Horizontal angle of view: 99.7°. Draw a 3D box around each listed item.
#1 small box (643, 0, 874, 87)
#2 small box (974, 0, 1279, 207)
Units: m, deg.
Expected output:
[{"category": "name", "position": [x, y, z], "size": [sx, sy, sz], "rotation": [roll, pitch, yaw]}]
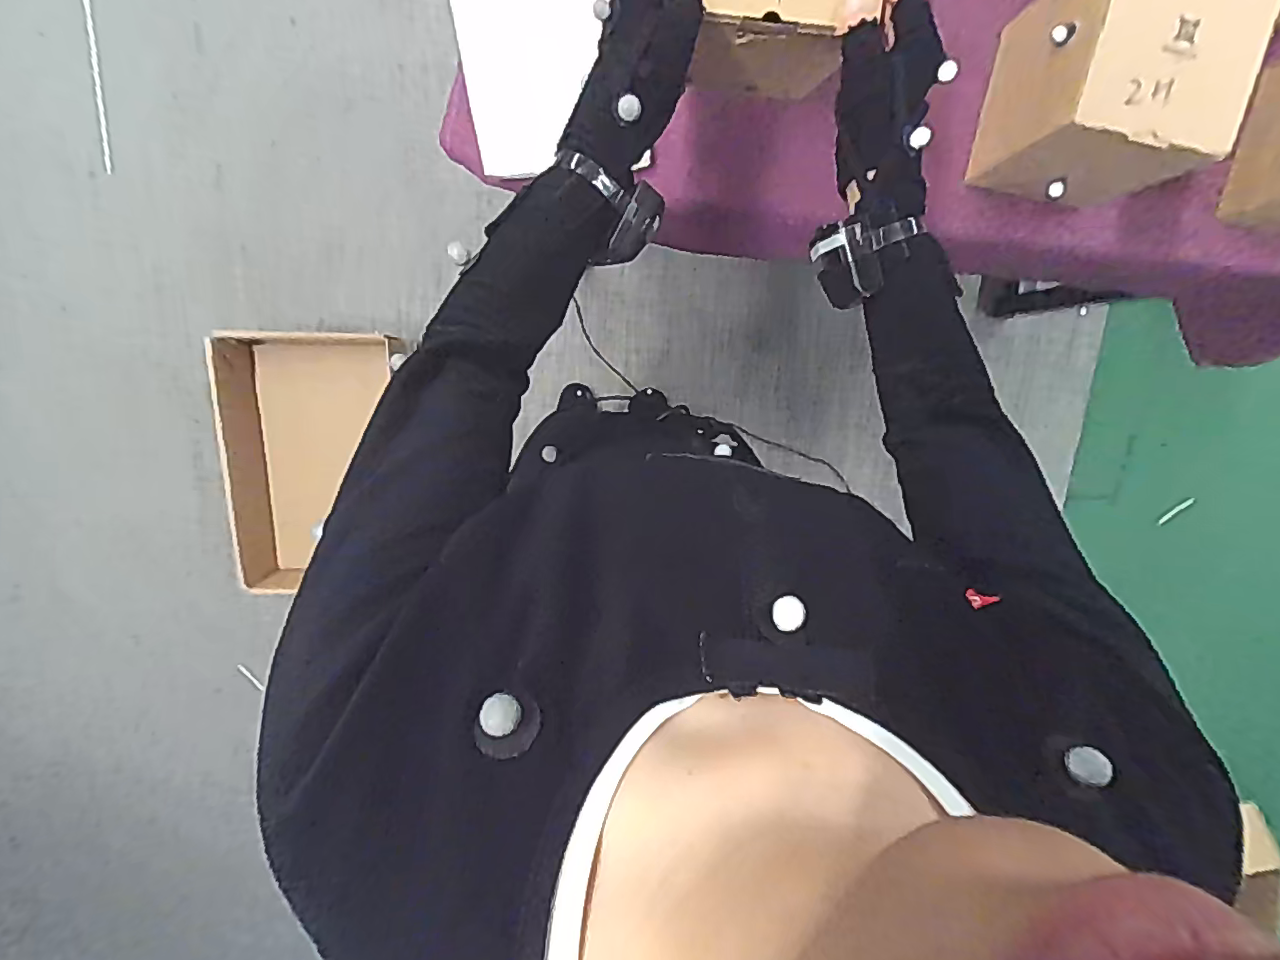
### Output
[{"category": "small box", "position": [0.091, -0.448, 0.441], "size": [0.168, 0.176, 0.179], "rotation": [1, 111, -4]}, {"category": "small box", "position": [0.503, -0.425, 0.583], "size": [0.168, 0.176, 0.179], "rotation": [10, 100, -4]}]
